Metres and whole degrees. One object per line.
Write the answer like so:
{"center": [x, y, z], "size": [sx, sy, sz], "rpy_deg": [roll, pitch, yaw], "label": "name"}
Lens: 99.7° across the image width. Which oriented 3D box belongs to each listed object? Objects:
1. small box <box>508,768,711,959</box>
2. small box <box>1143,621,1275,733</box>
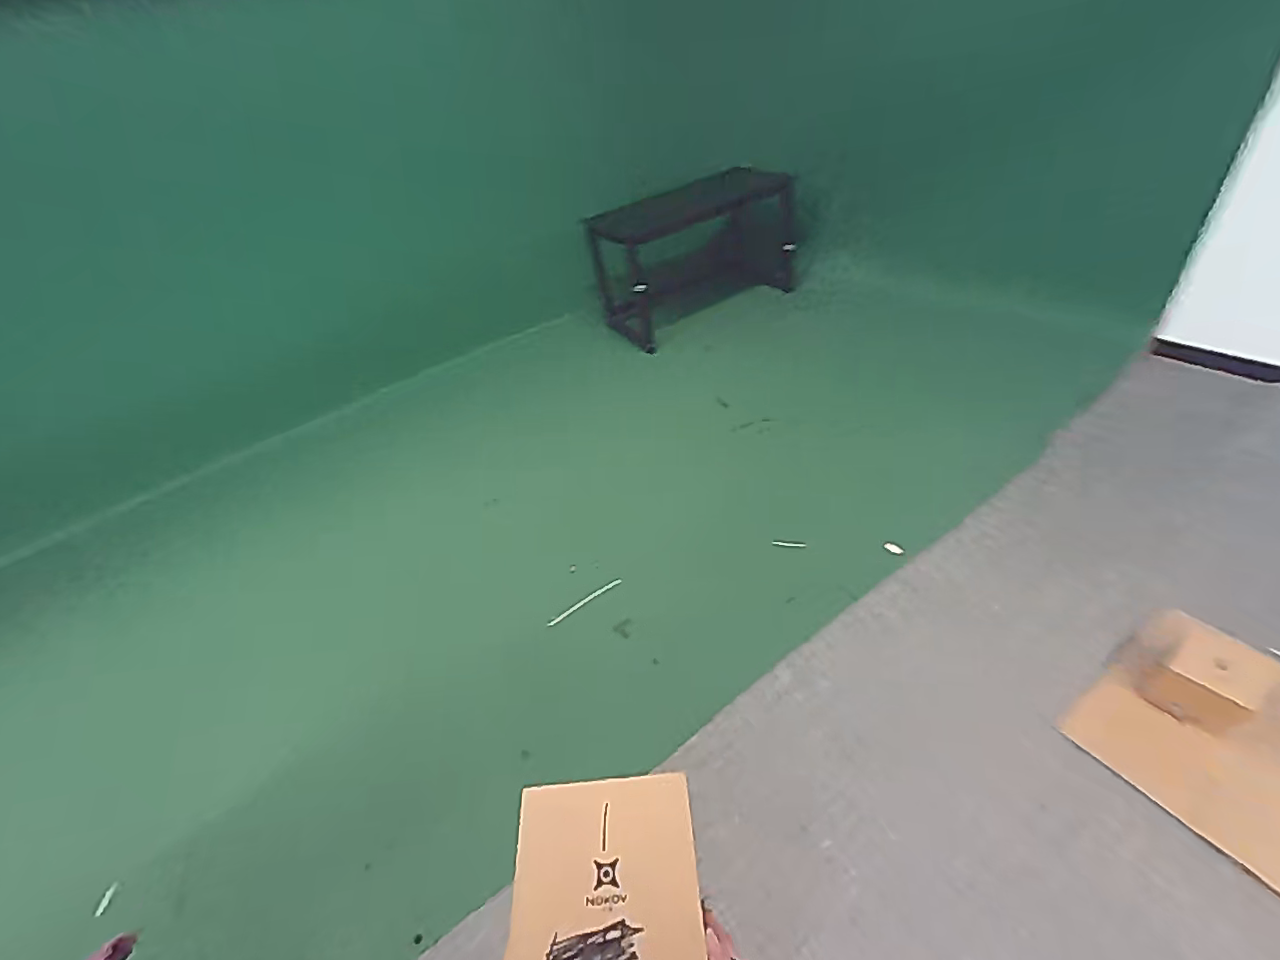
{"center": [-0.019, 0.406, 0.526], "size": [0.168, 0.176, 0.179], "rpy_deg": [-5, 42, 2], "label": "small box"}
{"center": [1.463, 0.510, 1.402], "size": [0.179, 0.176, 0.168], "rpy_deg": [-35, 45, -23], "label": "small box"}
